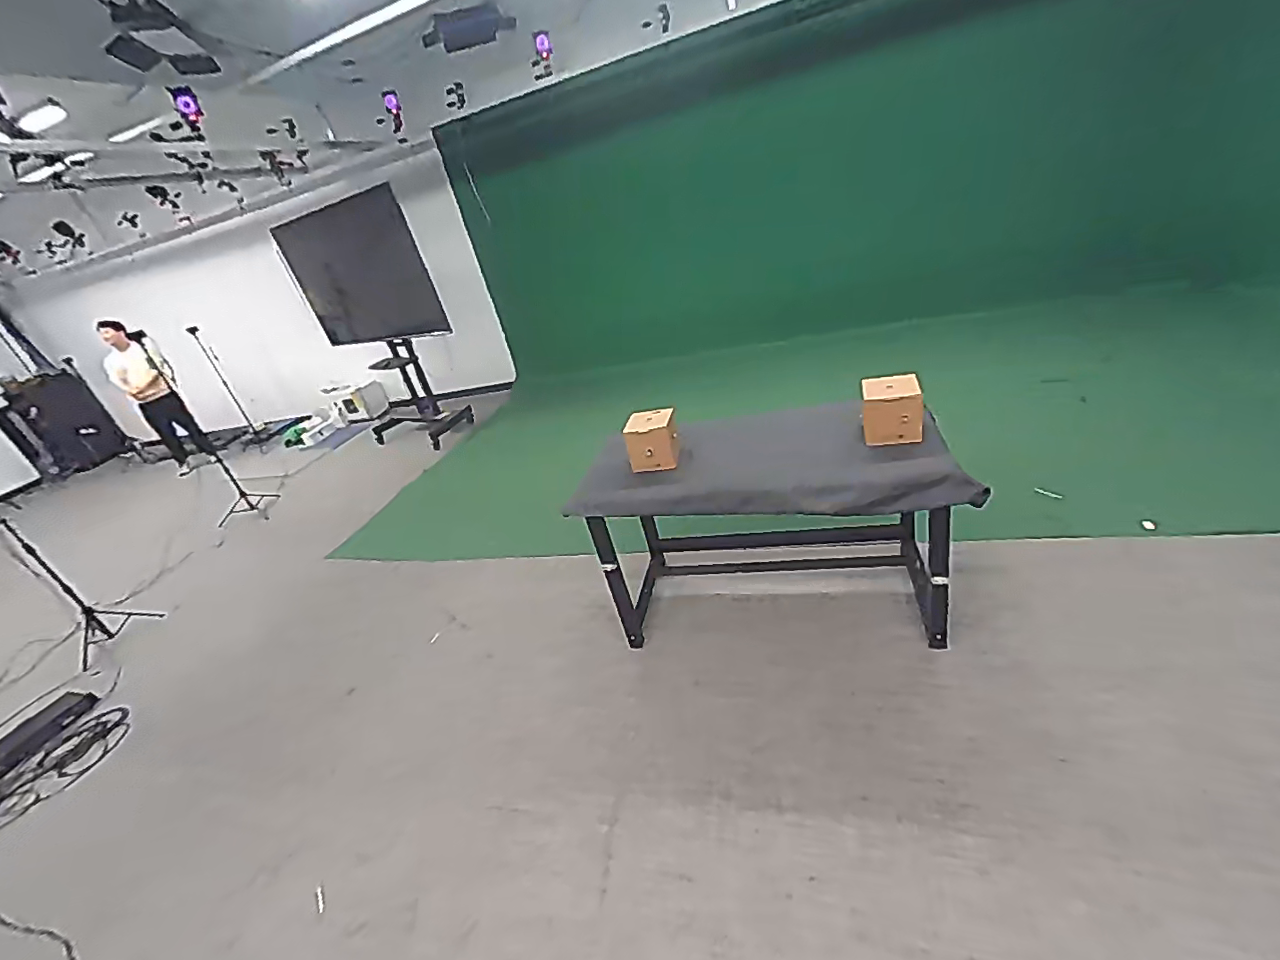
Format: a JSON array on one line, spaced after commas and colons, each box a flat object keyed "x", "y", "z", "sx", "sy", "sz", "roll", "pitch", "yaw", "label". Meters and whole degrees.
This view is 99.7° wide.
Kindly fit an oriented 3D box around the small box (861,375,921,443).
[{"x": 0.825, "y": -0.227, "z": 1.779, "sx": 0.168, "sy": 0.176, "sz": 0.179, "roll": -3, "pitch": 29, "yaw": 21, "label": "small box"}]

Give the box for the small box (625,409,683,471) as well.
[{"x": 0.060, "y": -0.144, "z": 2.024, "sx": 0.168, "sy": 0.176, "sz": 0.179, "roll": -6, "pitch": 29, "yaw": 17, "label": "small box"}]
